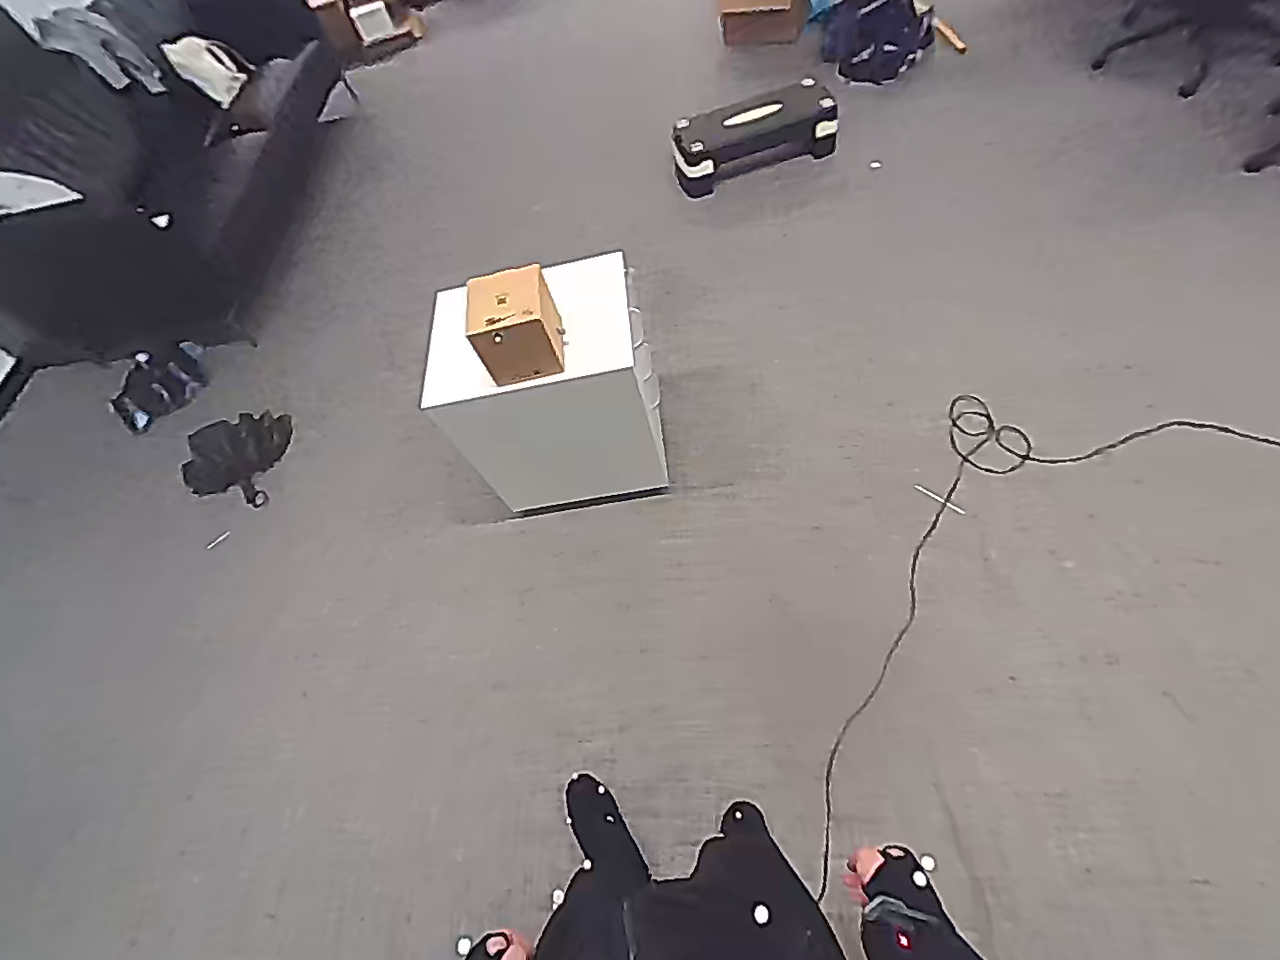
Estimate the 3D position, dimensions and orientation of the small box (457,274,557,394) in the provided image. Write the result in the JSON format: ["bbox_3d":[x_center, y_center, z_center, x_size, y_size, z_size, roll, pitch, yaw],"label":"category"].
[{"bbox_3d":[-0.291,-0.323,1.211,0.168,0.176,0.179,-13,57,5],"label":"small box"}]
